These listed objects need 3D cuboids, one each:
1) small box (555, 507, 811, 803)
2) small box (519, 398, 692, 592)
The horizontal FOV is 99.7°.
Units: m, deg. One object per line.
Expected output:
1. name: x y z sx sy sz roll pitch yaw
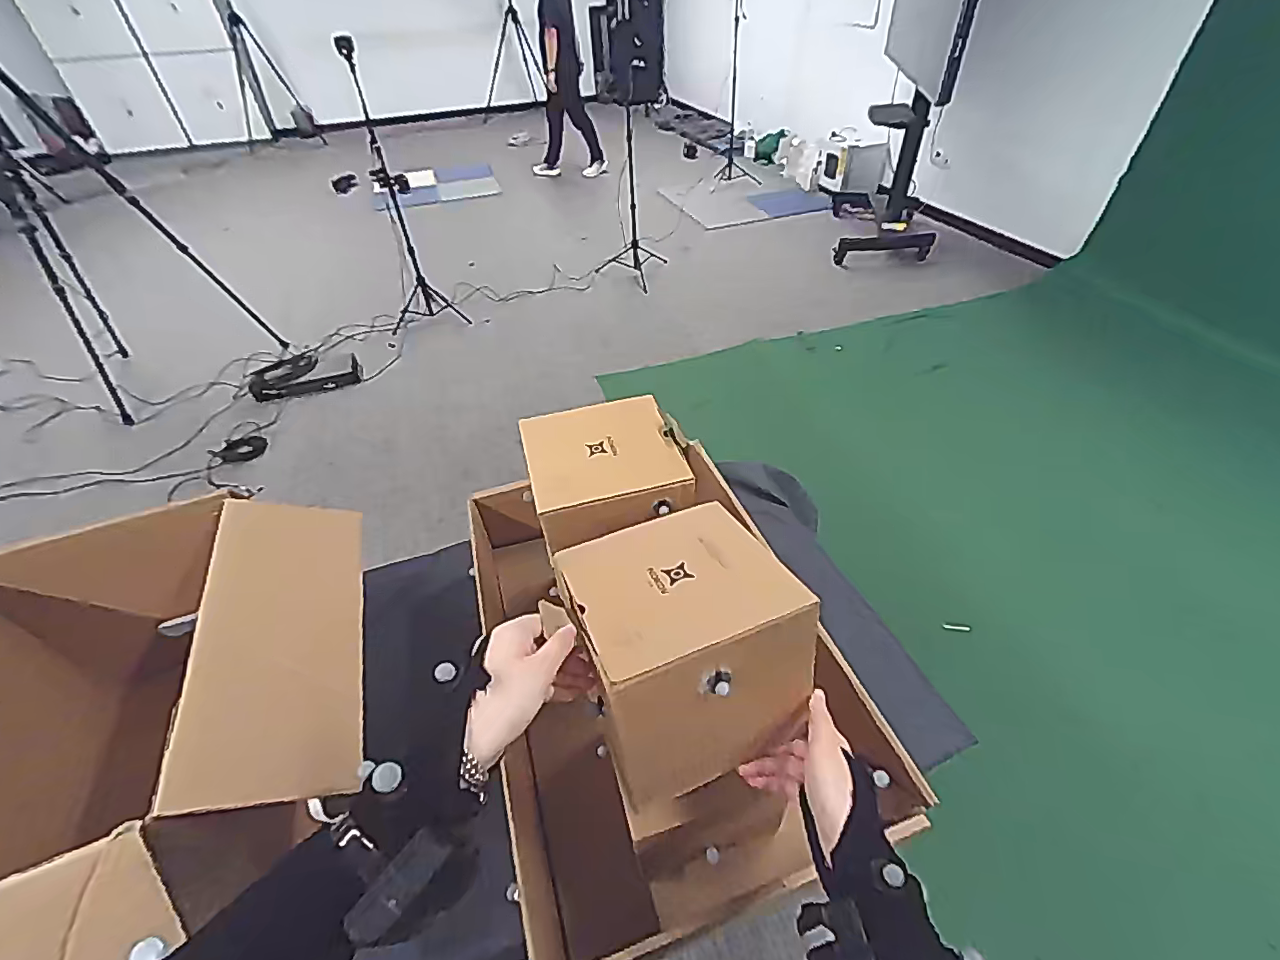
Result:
1. small box: 0.037 0.156 0.503 0.179 0.176 0.168 -16 33 -16
2. small box: -0.042 0.023 0.686 0.179 0.176 0.168 -13 46 -10
